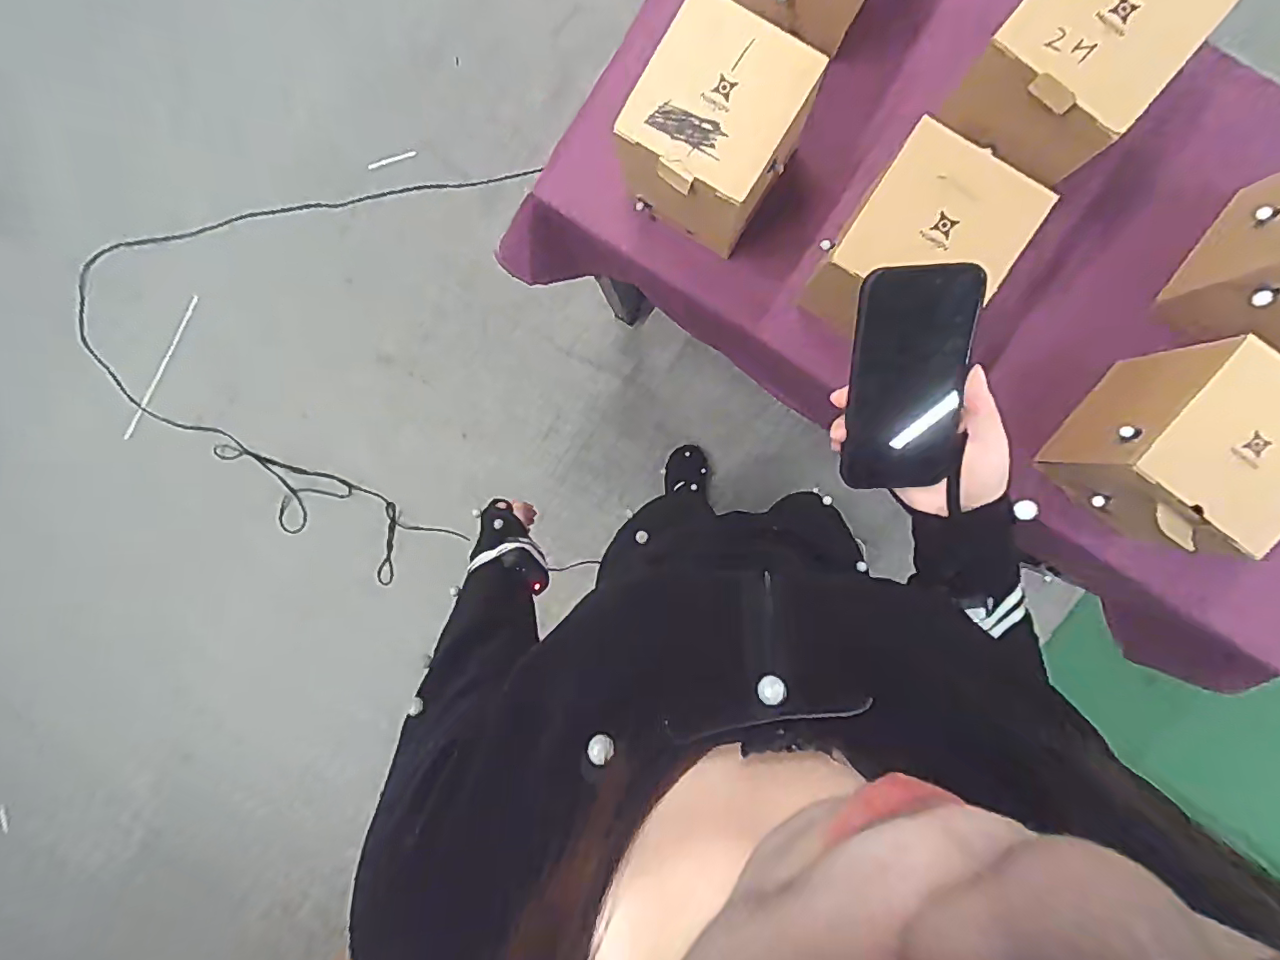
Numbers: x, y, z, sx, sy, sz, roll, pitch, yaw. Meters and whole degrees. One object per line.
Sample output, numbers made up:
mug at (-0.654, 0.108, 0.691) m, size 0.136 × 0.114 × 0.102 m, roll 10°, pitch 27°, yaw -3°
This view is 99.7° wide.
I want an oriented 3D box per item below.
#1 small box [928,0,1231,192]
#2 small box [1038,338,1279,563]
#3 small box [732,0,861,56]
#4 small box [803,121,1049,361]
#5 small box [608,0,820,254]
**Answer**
small box at (0.475, -0.464, 0.621) m, size 0.168 × 0.176 × 0.179 m, roll 40°, pitch 96°, yaw 1°
small box at (0.631, -0.035, 0.636) m, size 0.168 × 0.176 × 0.179 m, roll 38°, pitch 96°, yaw 2°
small box at (0.210, -0.656, 0.629) m, size 0.168 × 0.176 × 0.179 m, roll 29°, pitch 96°, yaw 1°
small box at (0.316, -0.263, 0.647) m, size 0.168 × 0.176 × 0.179 m, roll 33°, pitch 94°, yaw 1°
small box at (0.083, -0.409, 0.654) m, size 0.168 × 0.176 × 0.179 m, roll 32°, pitch 94°, yaw 1°
